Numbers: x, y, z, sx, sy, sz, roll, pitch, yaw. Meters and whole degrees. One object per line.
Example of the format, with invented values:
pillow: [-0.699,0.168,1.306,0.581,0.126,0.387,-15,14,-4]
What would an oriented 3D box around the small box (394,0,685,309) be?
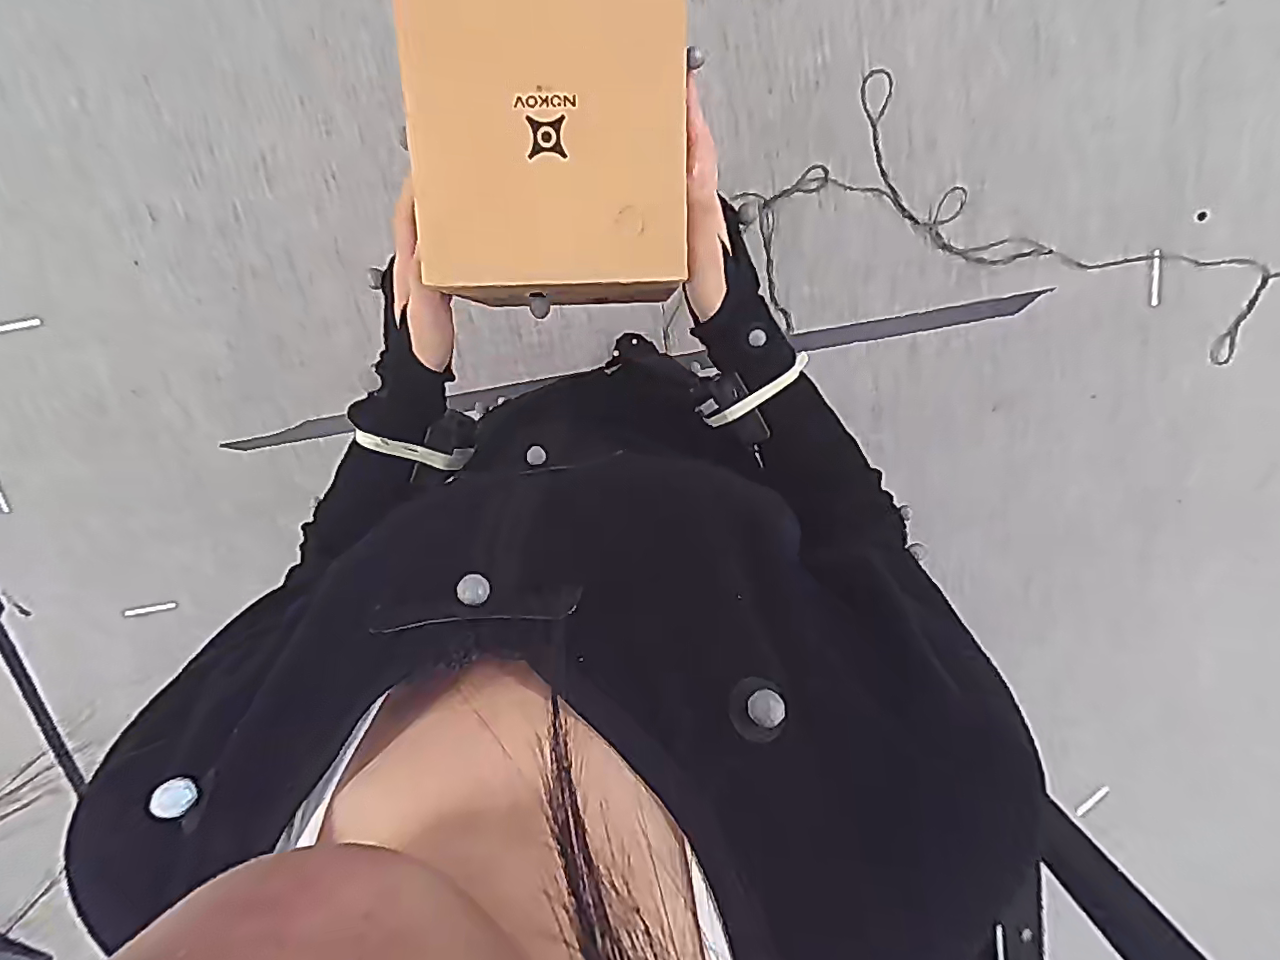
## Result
small box: [-0.055,-0.220,0.396,0.168,0.176,0.179,-2,103,0]
